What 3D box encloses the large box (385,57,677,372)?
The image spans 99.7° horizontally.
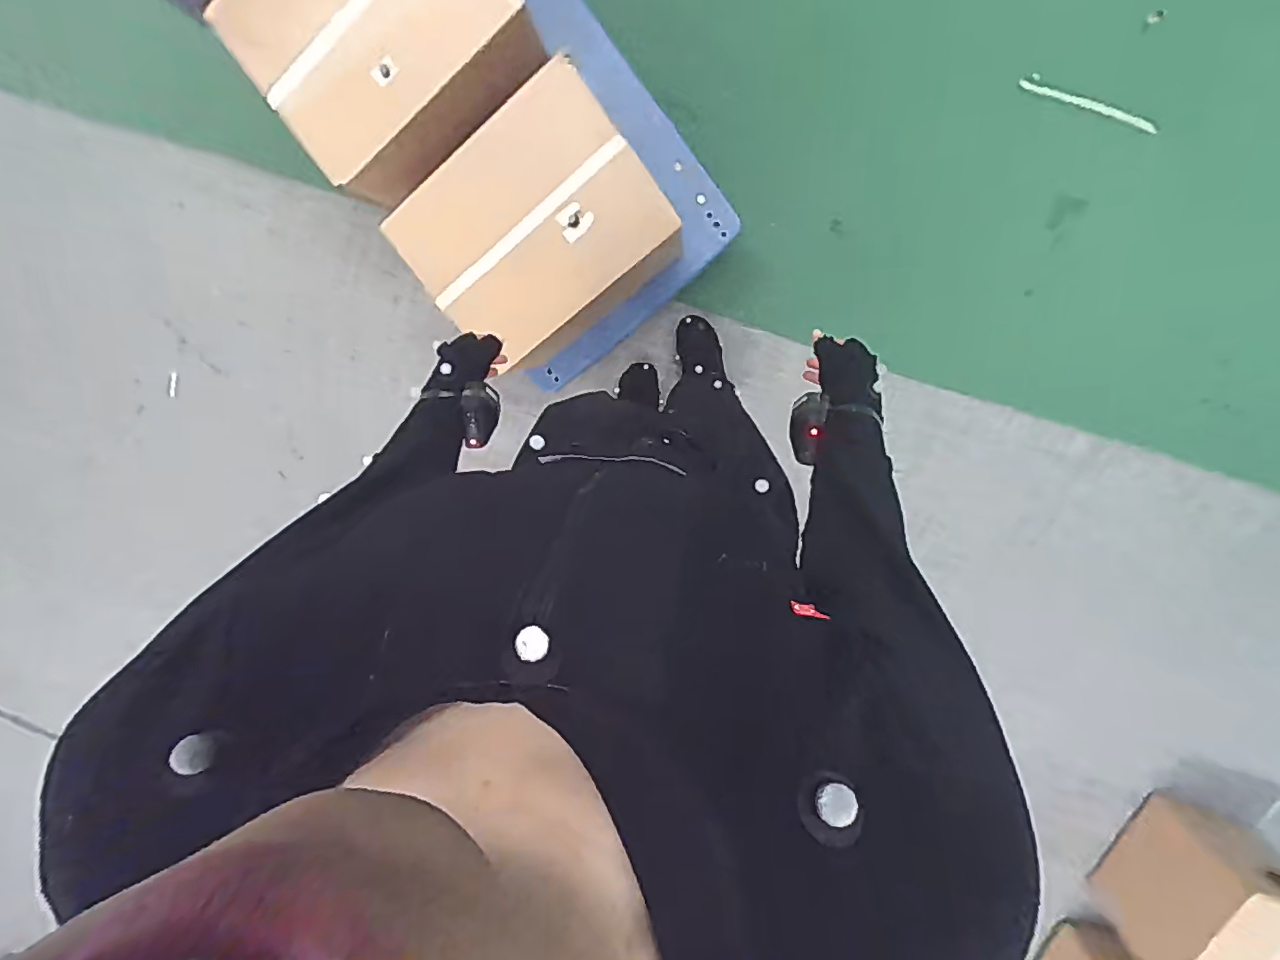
[{"bbox_3d":[-0.176,-0.450,1.031,0.408,0.320,0.320,-36,99,11],"label":"large box"}]
